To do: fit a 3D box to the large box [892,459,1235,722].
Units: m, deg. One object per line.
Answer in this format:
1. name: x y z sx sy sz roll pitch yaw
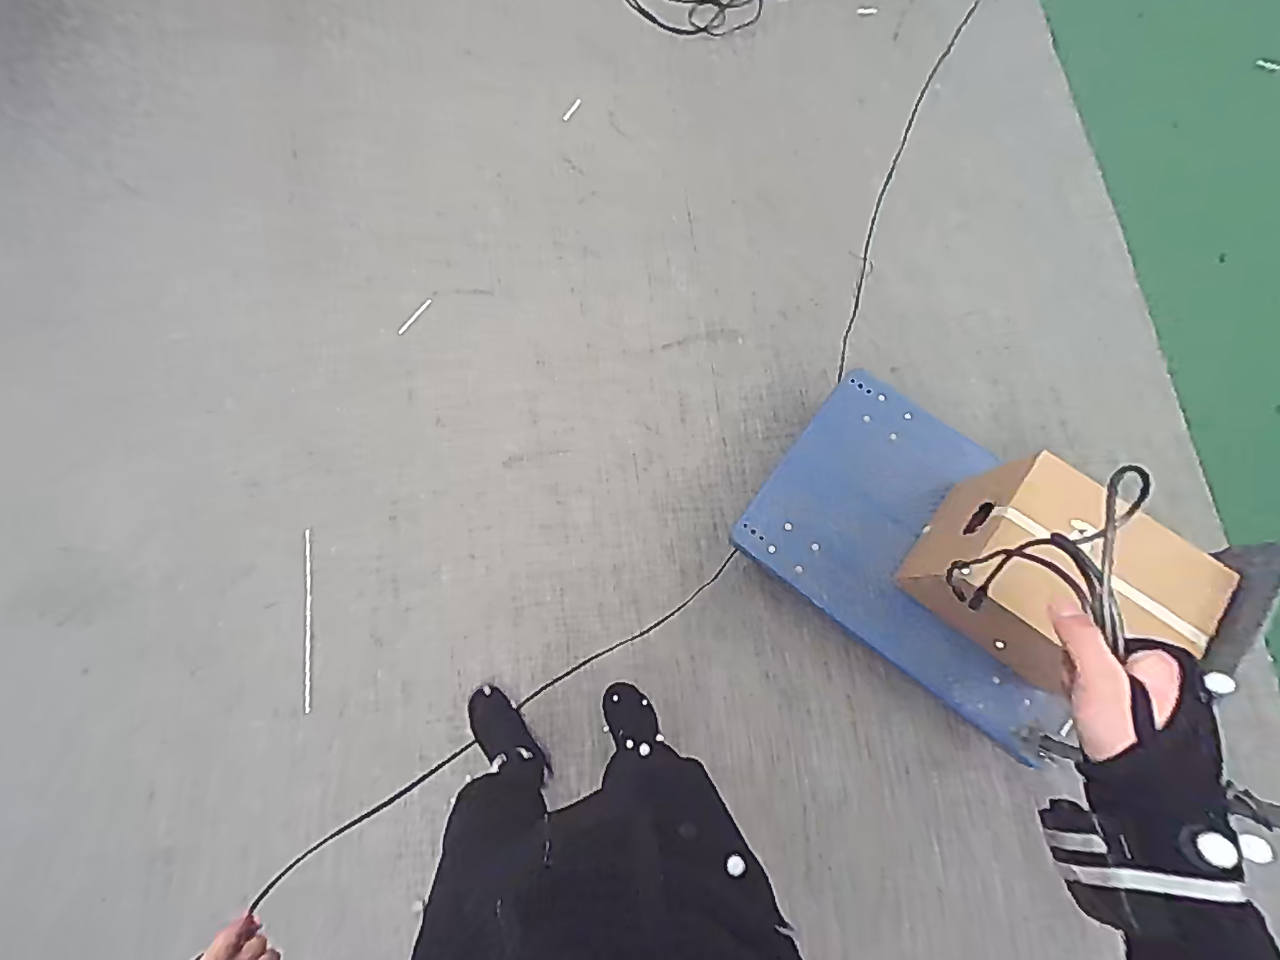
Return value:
1. large box: 0.835 0.222 1.128 0.408 0.320 0.320 37 80 9
